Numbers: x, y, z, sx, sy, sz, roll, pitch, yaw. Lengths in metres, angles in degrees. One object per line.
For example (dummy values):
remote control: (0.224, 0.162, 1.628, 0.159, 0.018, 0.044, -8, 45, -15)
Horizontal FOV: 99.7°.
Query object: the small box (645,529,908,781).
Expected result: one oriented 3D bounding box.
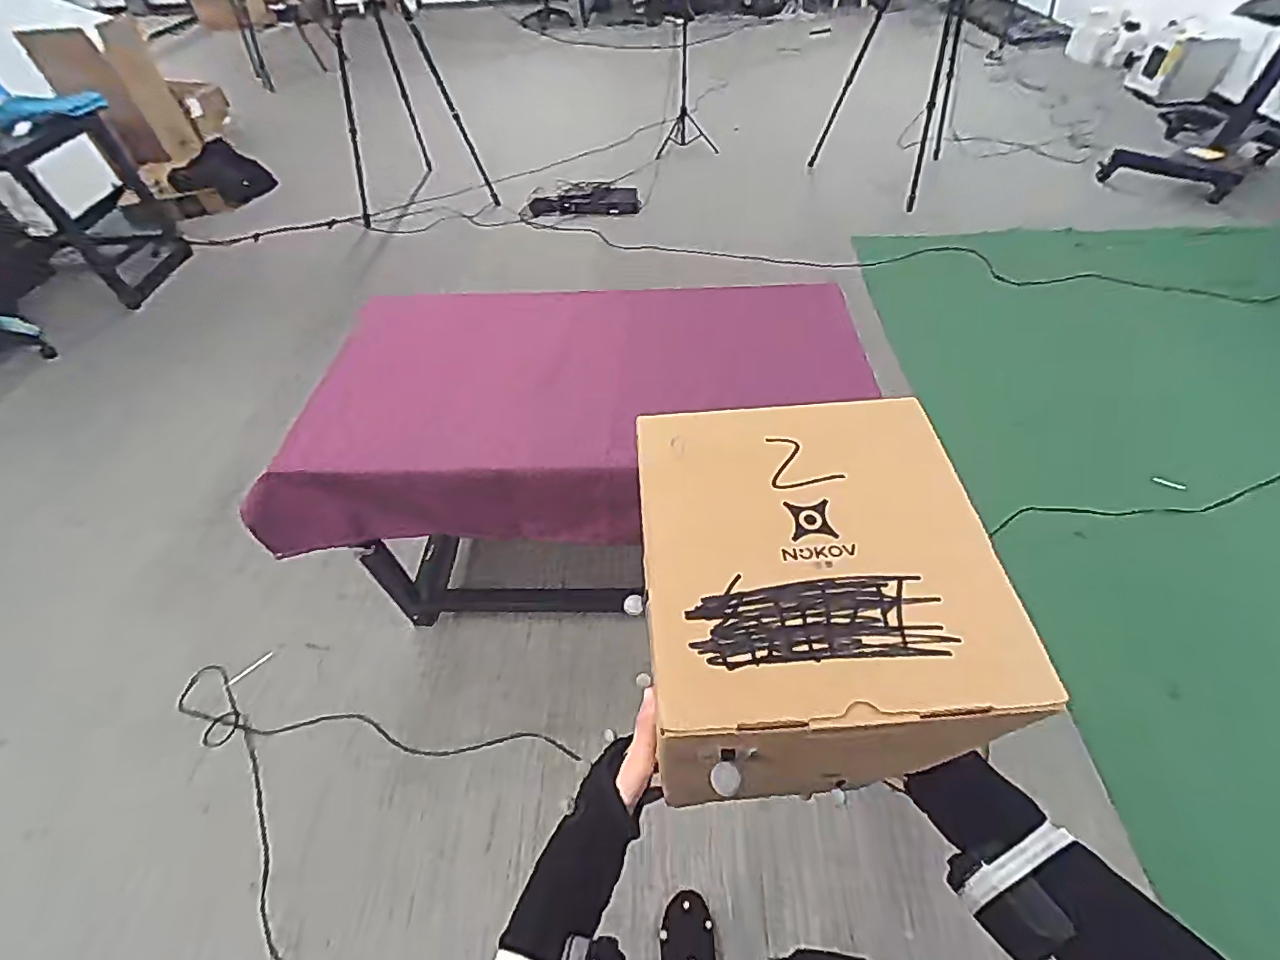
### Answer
small box: (0.098, 0.160, 0.480, 0.179, 0.176, 0.168, -5, 53, 0)
